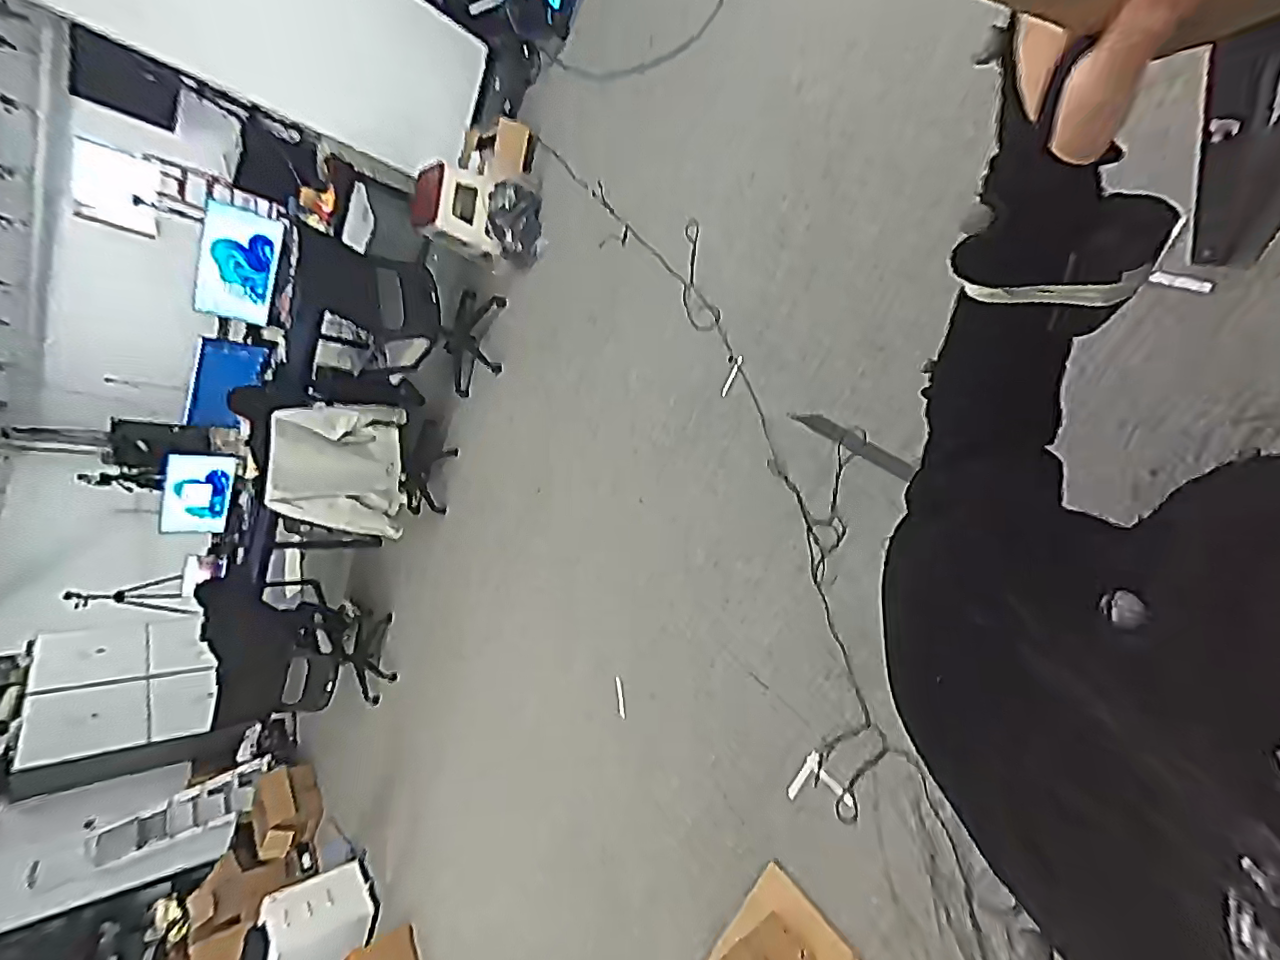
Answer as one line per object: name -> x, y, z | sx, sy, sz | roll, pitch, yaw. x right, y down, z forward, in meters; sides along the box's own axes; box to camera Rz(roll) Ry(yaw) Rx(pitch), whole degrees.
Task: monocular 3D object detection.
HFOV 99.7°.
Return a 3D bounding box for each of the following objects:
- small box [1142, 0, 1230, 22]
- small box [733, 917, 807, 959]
small box -> 0.190, -0.256, 0.121 | 0.168, 0.176, 0.179 | 16, 117, 59
small box -> 0.365, 1.407, 1.533 | 0.168, 0.176, 0.179 | 32, 109, 41
